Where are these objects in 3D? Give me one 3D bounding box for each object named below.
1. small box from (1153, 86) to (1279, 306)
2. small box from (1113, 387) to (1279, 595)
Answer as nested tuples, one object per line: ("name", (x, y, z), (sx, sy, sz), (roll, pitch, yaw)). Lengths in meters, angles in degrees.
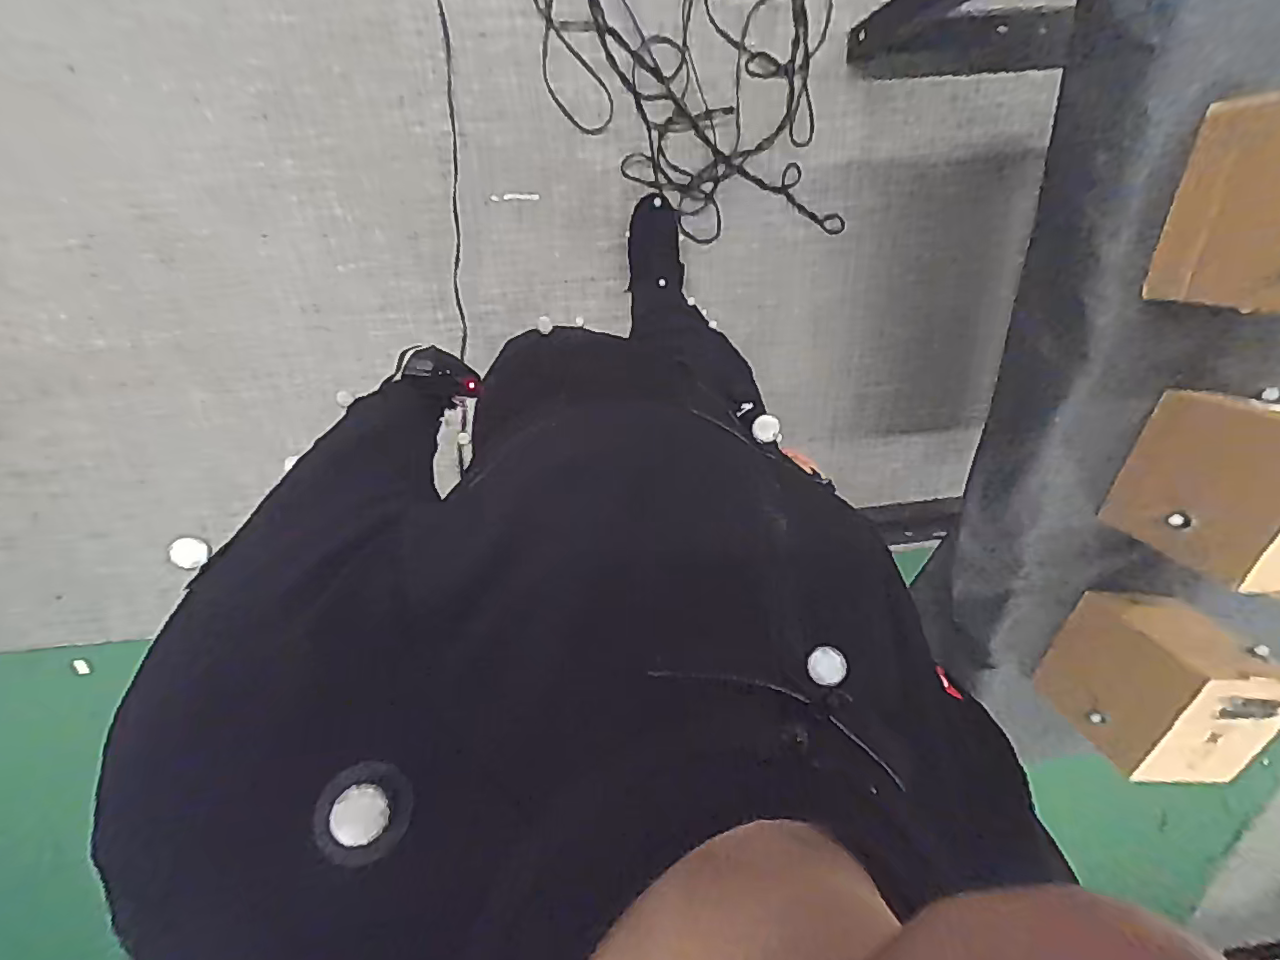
("small box", (0.619, -0.249, 0.472), (0.168, 0.176, 0.179), (-5, 116, -5))
("small box", (0.691, 0.009, 0.600), (0.168, 0.176, 0.179), (3, 113, -9))
